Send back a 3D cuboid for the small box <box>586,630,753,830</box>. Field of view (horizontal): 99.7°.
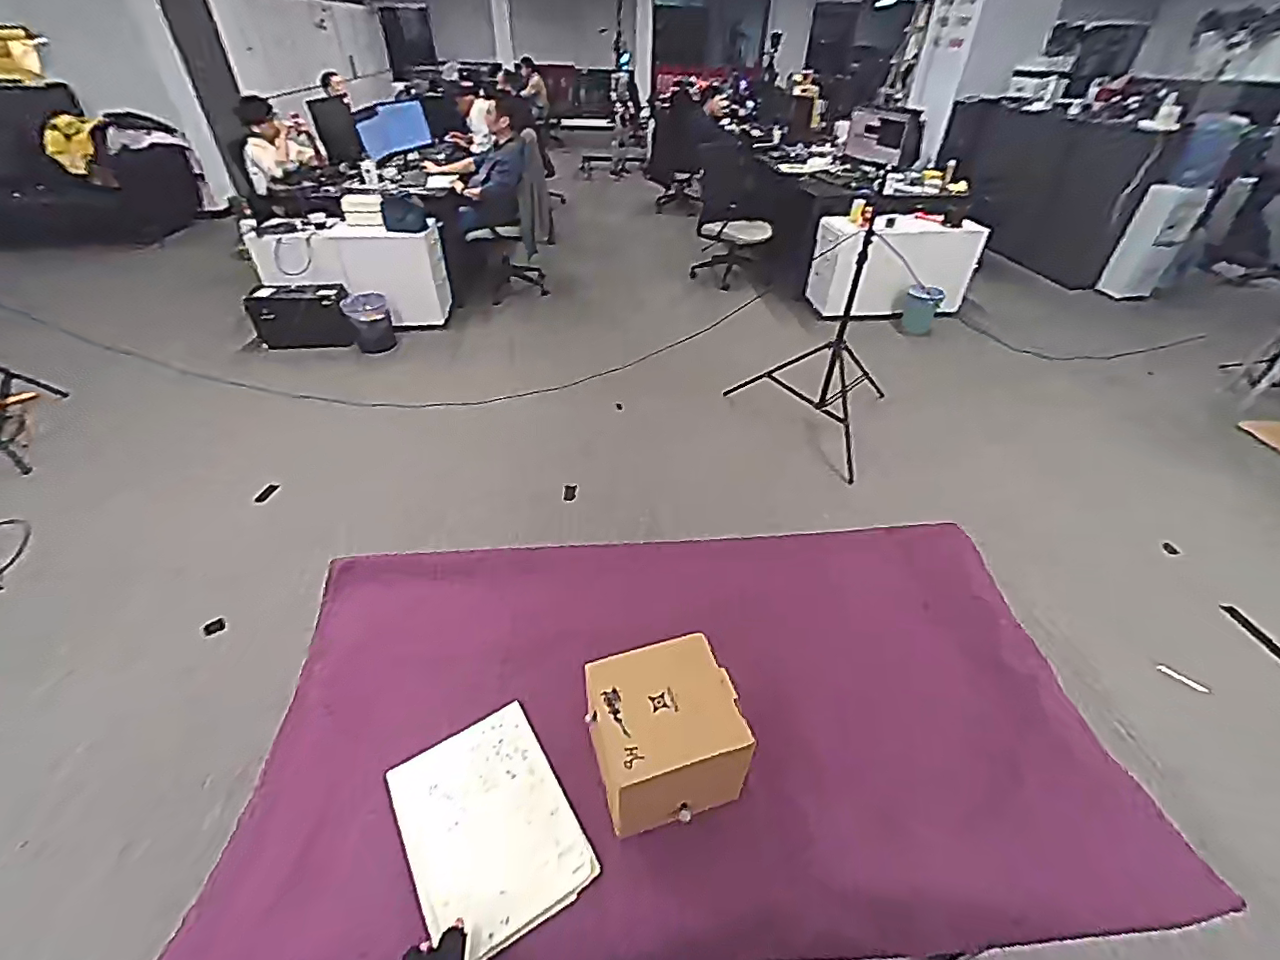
[{"bbox_3d":[0.029,0.337,0.736,0.179,0.176,0.168,-10,40,-15],"label":"small box"}]
